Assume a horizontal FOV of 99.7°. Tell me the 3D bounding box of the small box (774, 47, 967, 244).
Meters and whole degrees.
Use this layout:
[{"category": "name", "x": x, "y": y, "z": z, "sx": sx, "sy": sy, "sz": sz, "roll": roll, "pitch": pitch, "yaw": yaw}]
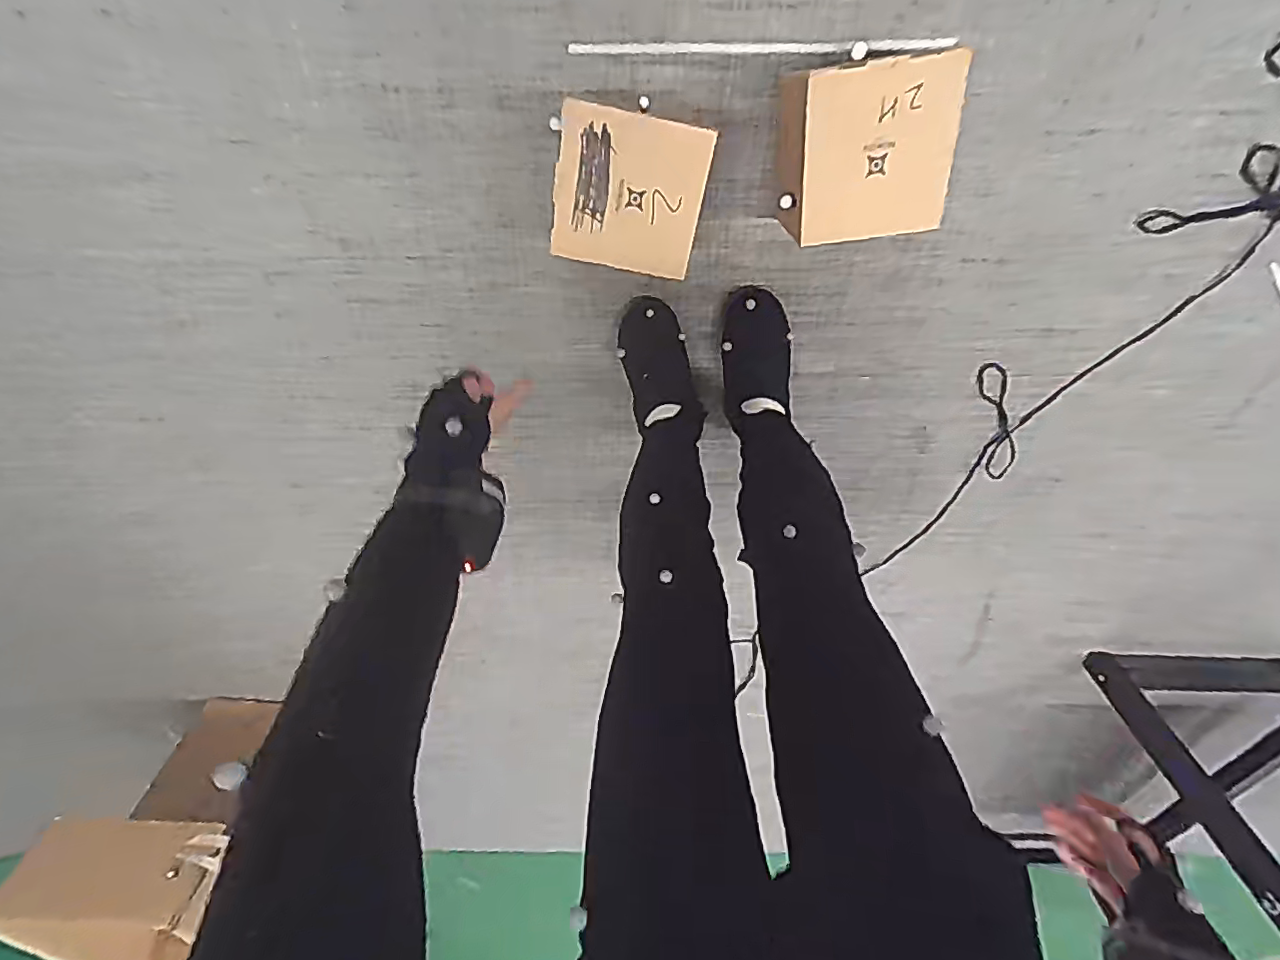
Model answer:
[{"category": "small box", "x": 0.263, "y": -0.410, "z": 0.666, "sx": 0.168, "sy": 0.176, "sz": 0.179, "roll": -5, "pitch": 126, "yaw": 5}]
